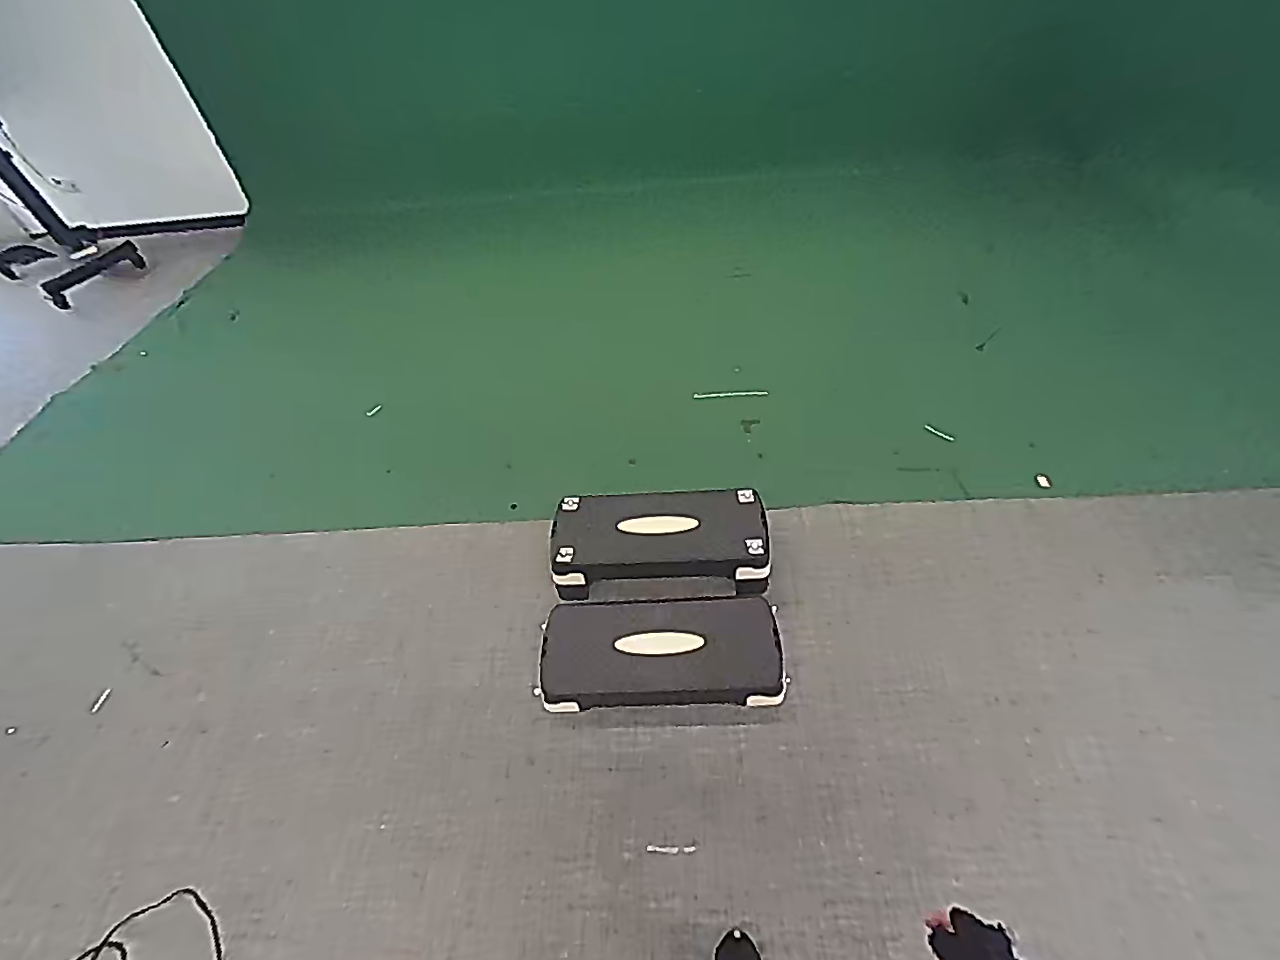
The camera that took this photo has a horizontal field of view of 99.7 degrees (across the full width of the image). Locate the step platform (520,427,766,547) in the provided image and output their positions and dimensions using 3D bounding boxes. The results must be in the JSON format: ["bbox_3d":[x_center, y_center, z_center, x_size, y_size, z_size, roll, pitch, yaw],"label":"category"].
[{"bbox_3d":[0.012,0.022,1.586,0.684,0.204,0.286,-3,48,4],"label":"step platform"}]
